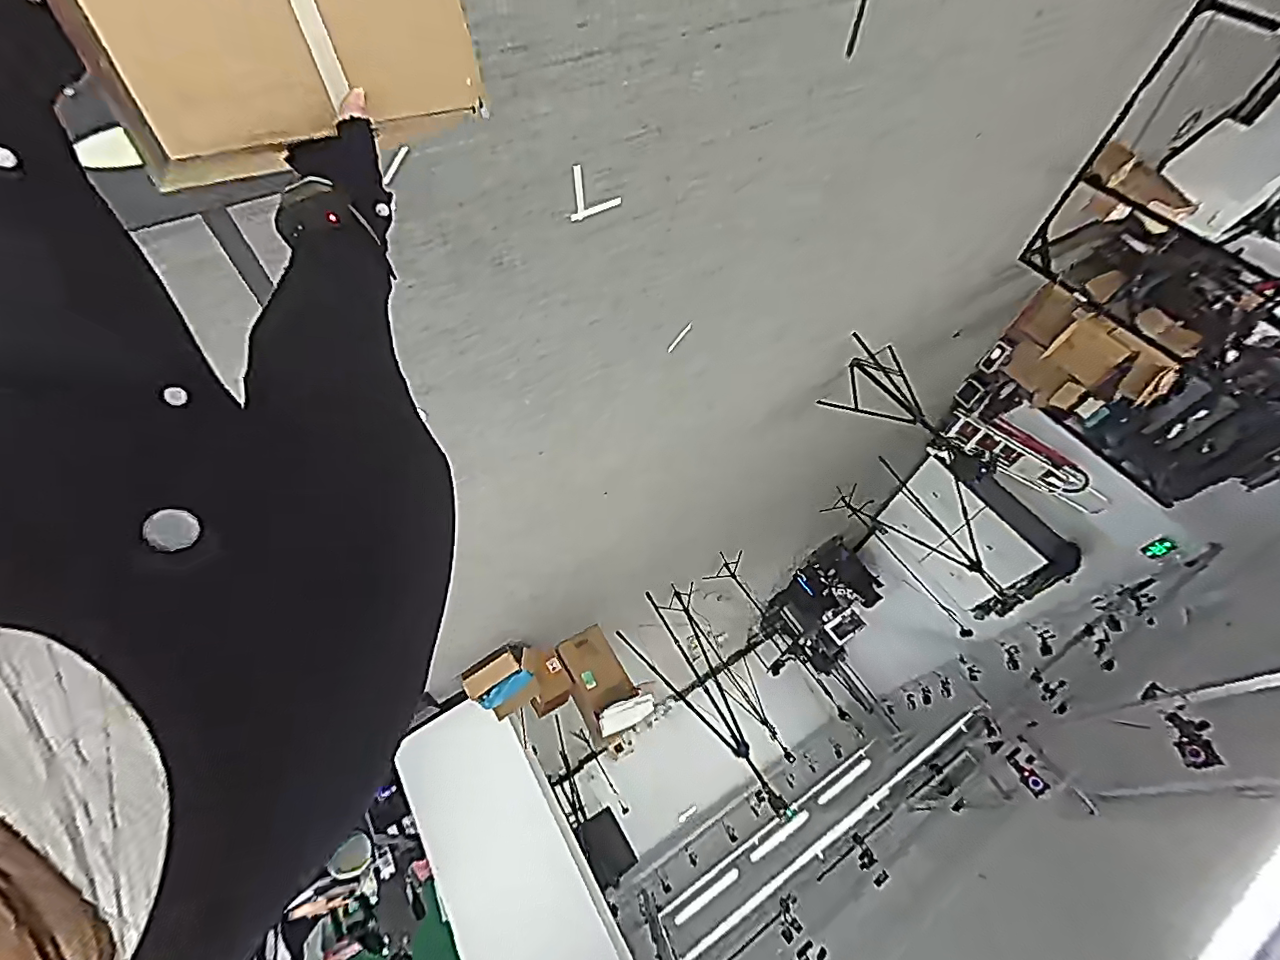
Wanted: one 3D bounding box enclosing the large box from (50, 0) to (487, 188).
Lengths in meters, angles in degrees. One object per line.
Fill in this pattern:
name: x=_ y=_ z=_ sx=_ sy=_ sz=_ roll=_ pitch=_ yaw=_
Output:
large box: x=-0.420 y=-0.551 z=0.535 sx=0.320 sy=0.320 sz=0.408 roll=-33 pitch=128 yaw=-28
